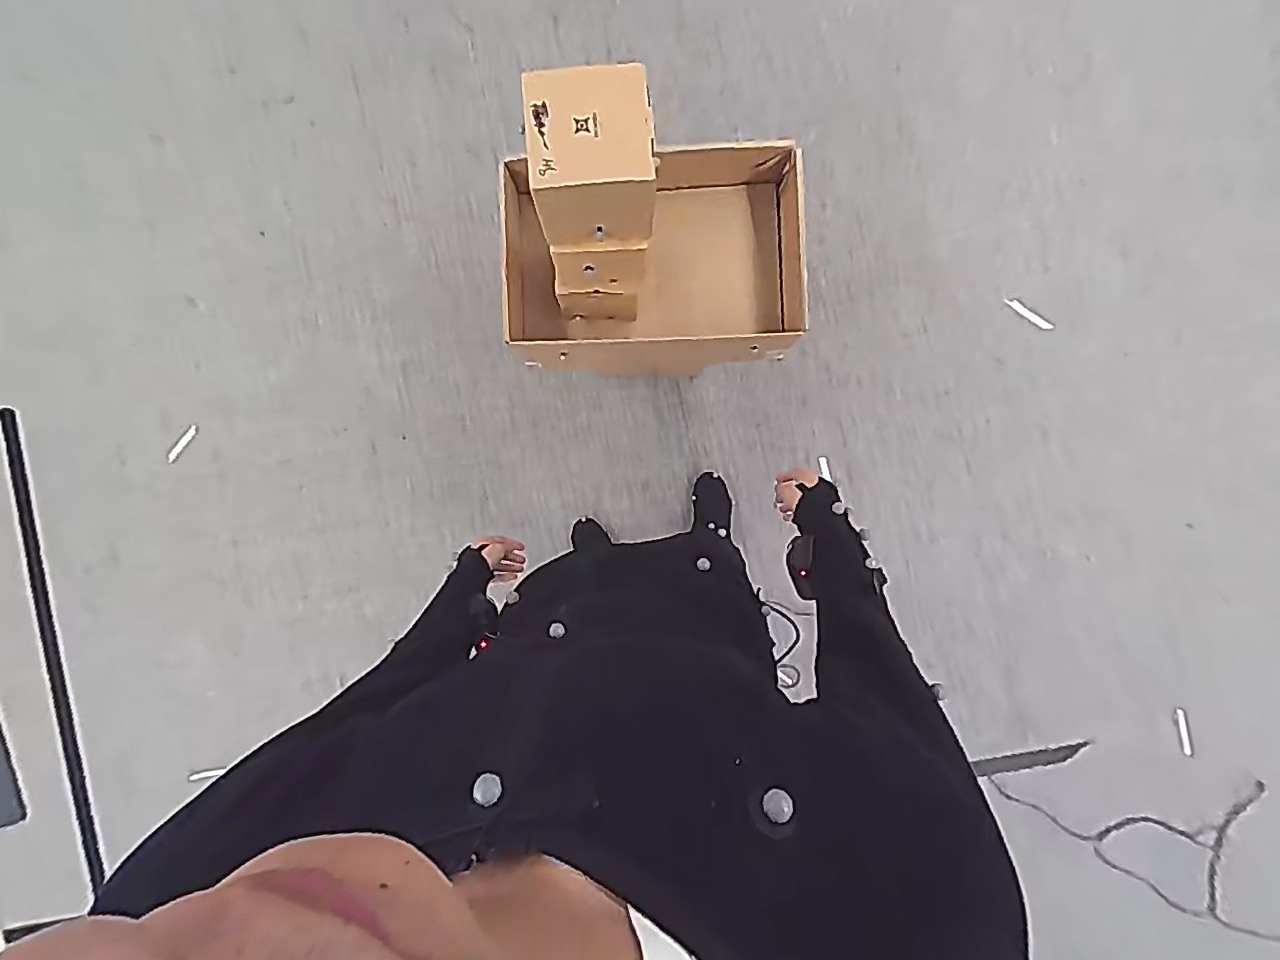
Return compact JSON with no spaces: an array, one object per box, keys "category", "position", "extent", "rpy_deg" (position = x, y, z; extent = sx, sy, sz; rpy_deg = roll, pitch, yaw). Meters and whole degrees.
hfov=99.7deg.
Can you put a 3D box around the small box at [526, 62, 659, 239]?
[{"category":"small box","position":[-0.068,-0.484,0.816],"extent":[0.179,0.176,0.168],"rpy_deg":[-4,88,-1]}]

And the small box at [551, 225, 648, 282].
[{"category":"small box","position":[-0.070,-0.471,0.979],"extent":[0.168,0.176,0.179],"rpy_deg":[-3,88,-1]}]

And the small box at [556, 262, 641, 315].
[{"category":"small box","position":[-0.081,-0.457,1.141],"extent":[0.168,0.176,0.179],"rpy_deg":[1,89,-1]}]
